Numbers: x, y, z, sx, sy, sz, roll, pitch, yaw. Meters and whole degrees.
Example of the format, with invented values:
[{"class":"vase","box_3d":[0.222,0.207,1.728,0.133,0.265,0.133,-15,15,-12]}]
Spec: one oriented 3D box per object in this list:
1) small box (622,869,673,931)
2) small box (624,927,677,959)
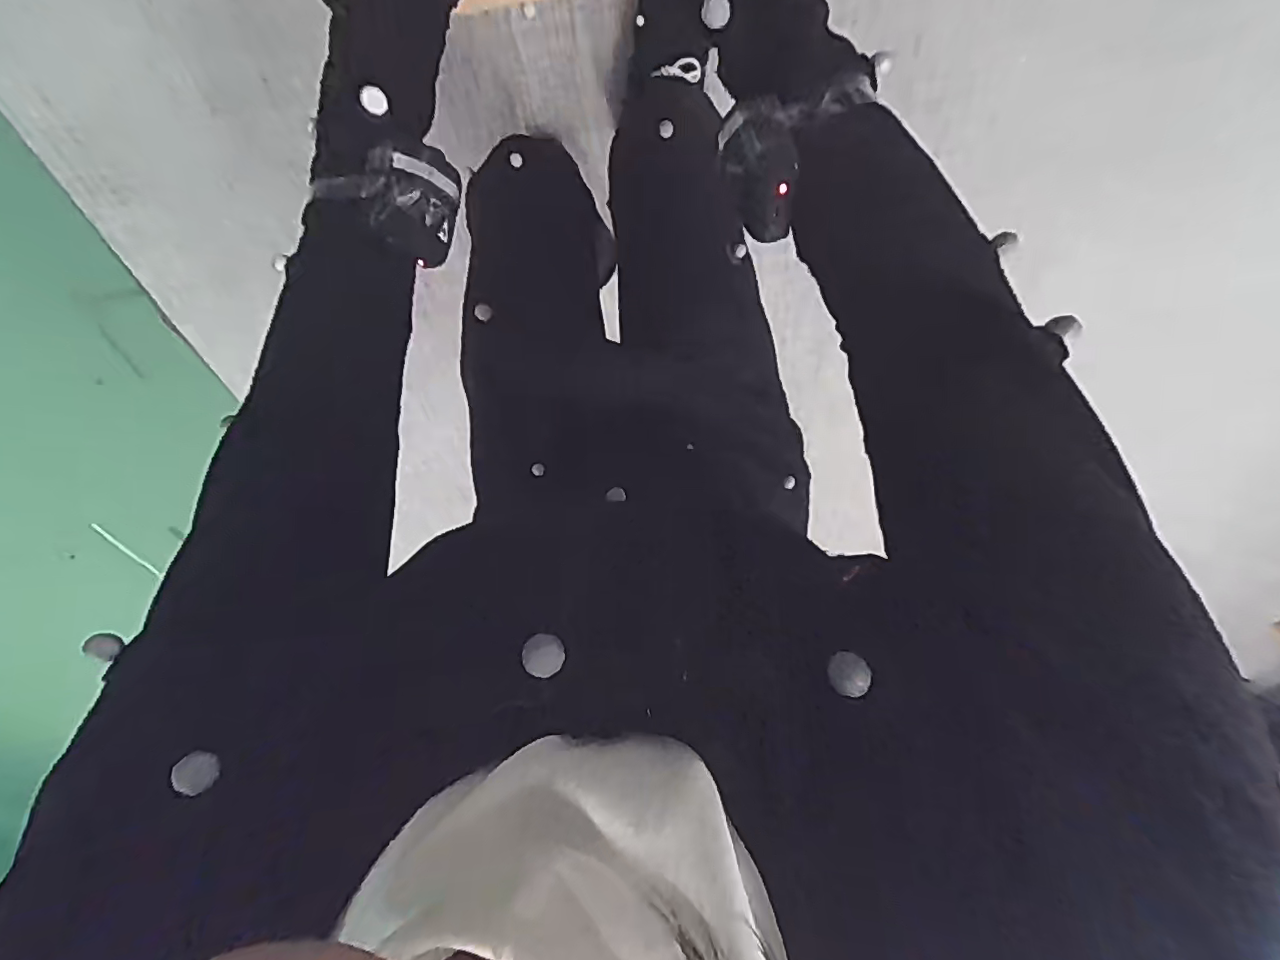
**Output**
[{"class":"small box","box_3d":[0.028,1.558,1.999,0.179,0.176,0.168,-6,138,3]},{"class":"small box","box_3d":[0.042,1.678,1.891,0.168,0.176,0.179,-10,136,2]}]
